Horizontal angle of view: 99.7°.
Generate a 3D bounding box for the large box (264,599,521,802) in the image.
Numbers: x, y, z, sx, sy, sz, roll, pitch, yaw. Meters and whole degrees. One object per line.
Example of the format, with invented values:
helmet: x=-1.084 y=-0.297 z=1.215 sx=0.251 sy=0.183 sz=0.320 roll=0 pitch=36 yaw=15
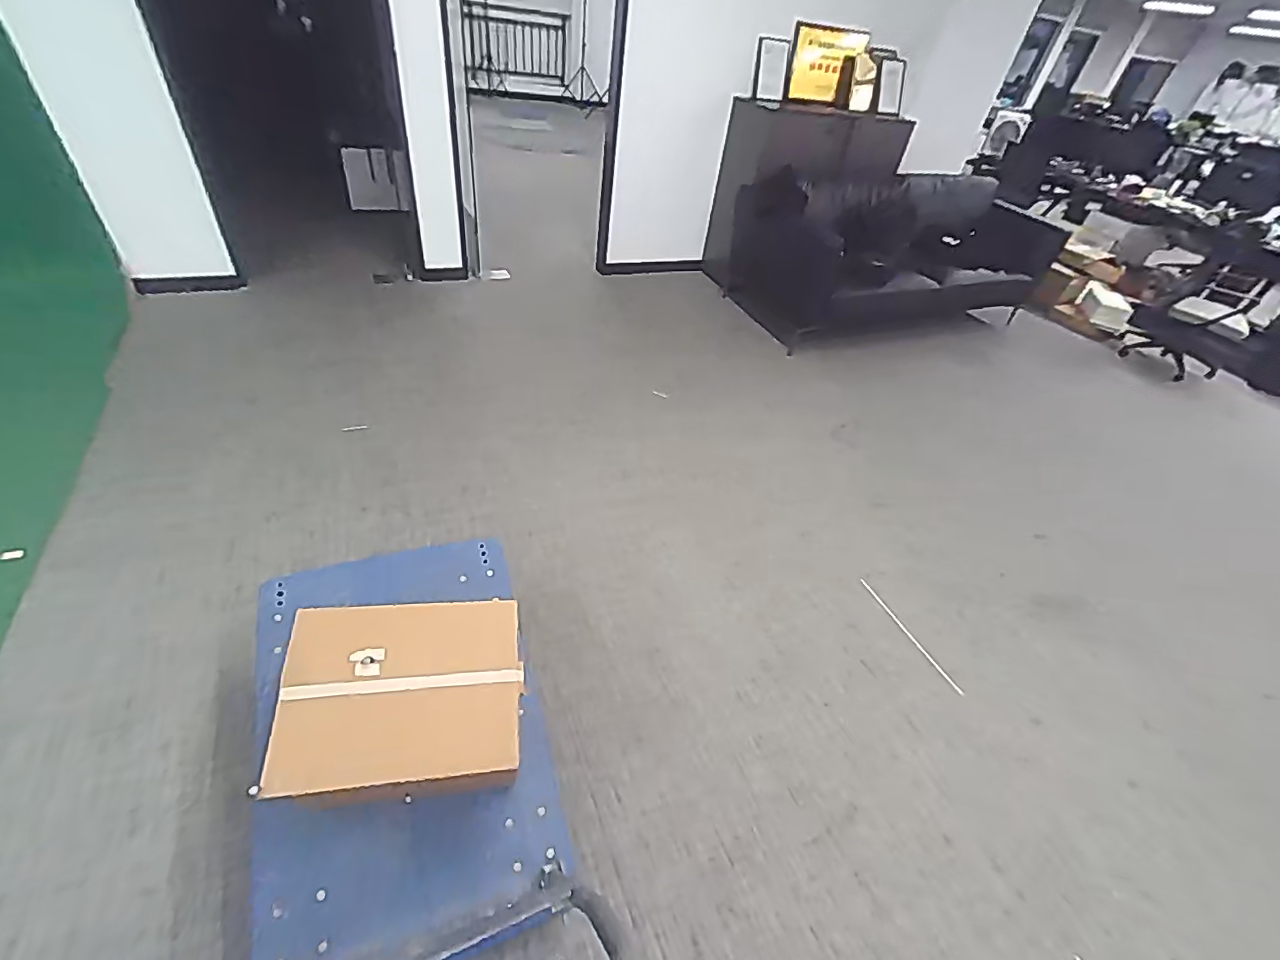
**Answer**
large box: x=-0.455 y=0.452 z=1.106 sx=0.408 sy=0.320 sz=0.320 roll=1 pitch=56 yaw=-14
